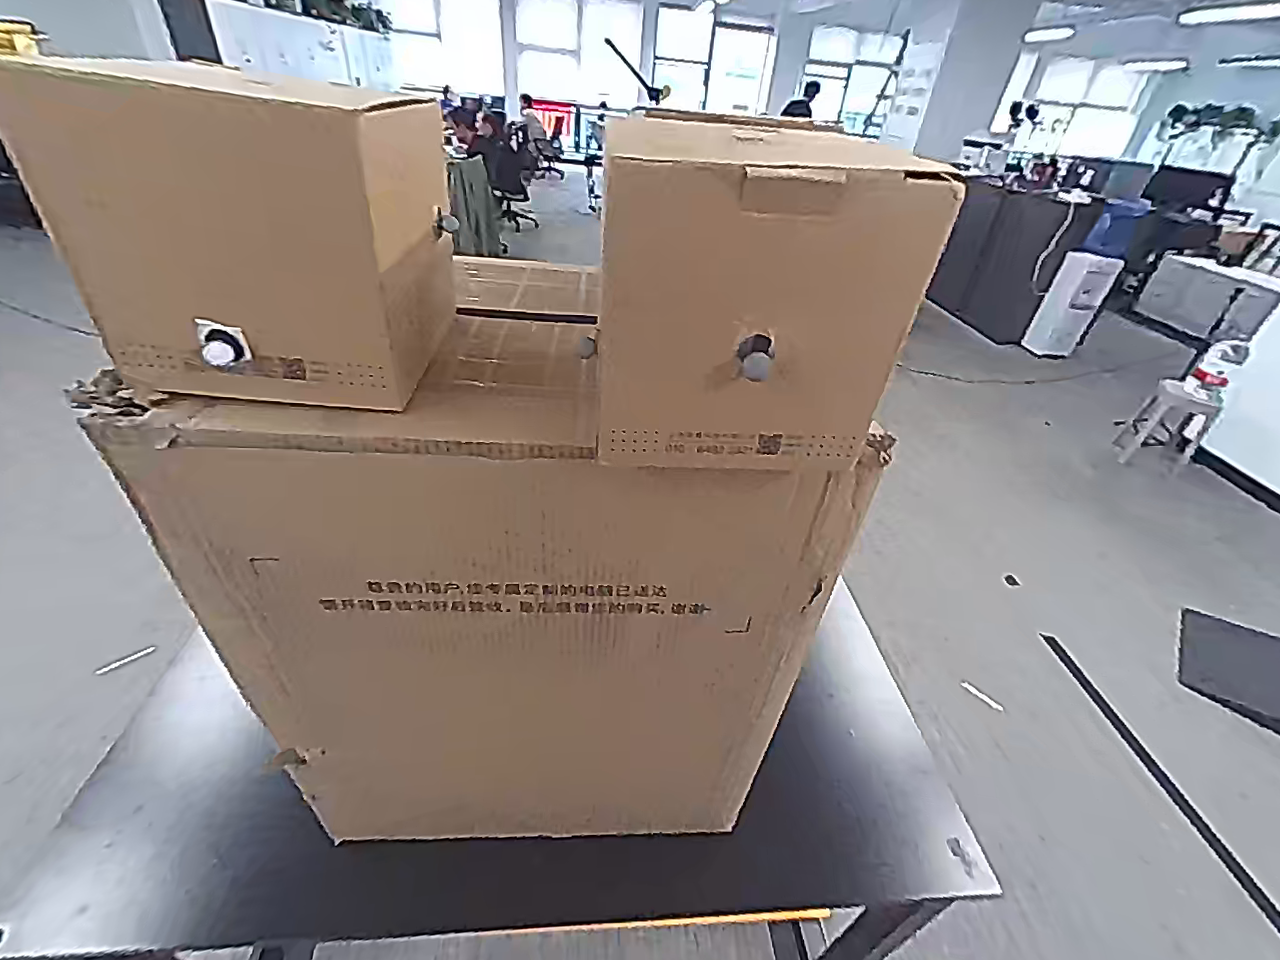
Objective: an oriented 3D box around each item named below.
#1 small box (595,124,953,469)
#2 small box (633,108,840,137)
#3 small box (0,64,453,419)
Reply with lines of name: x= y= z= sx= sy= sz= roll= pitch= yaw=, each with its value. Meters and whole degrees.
small box: x=0.056 y=-0.120 z=0.355 sx=0.168 sy=0.176 sz=0.179 roll=1 pitch=39 yaw=-5
small box: x=0.072 y=-0.264 z=0.545 sx=0.168 sy=0.176 sz=0.179 roll=0 pitch=33 yaw=-6
small box: x=-0.229 y=-0.160 z=0.364 sx=0.168 sy=0.176 sz=0.179 roll=3 pitch=37 yaw=-7
